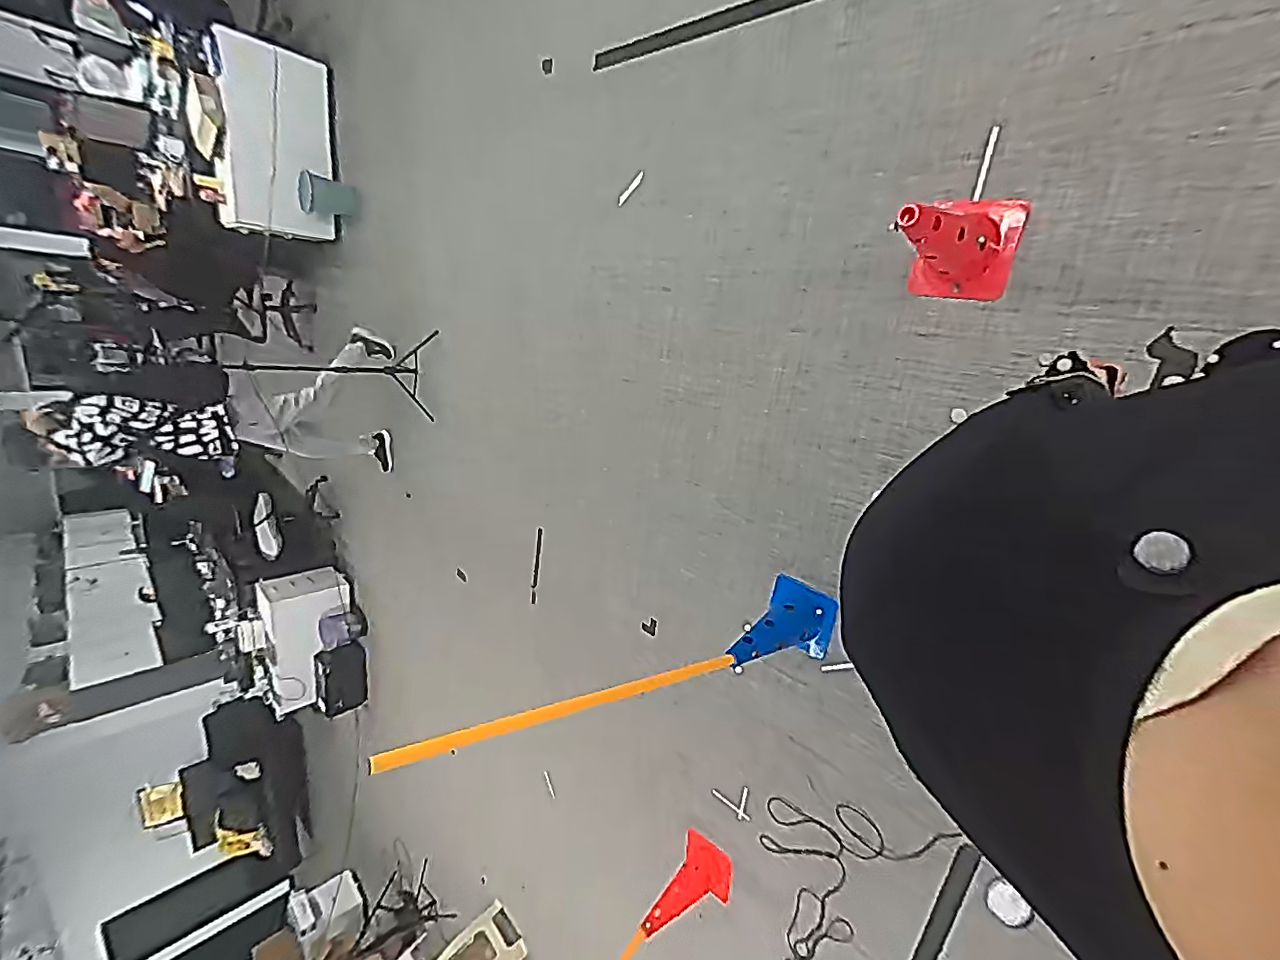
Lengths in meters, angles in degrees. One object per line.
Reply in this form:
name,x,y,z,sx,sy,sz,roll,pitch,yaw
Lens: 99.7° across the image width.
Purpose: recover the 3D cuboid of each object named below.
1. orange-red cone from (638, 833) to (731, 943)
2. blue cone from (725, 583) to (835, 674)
orange-red cone,0.129,1.448,1.863,0.199,0.360,0.198,16,109,41
blue cone,0.357,0.433,1.474,0.193,0.380,0.192,26,115,39
